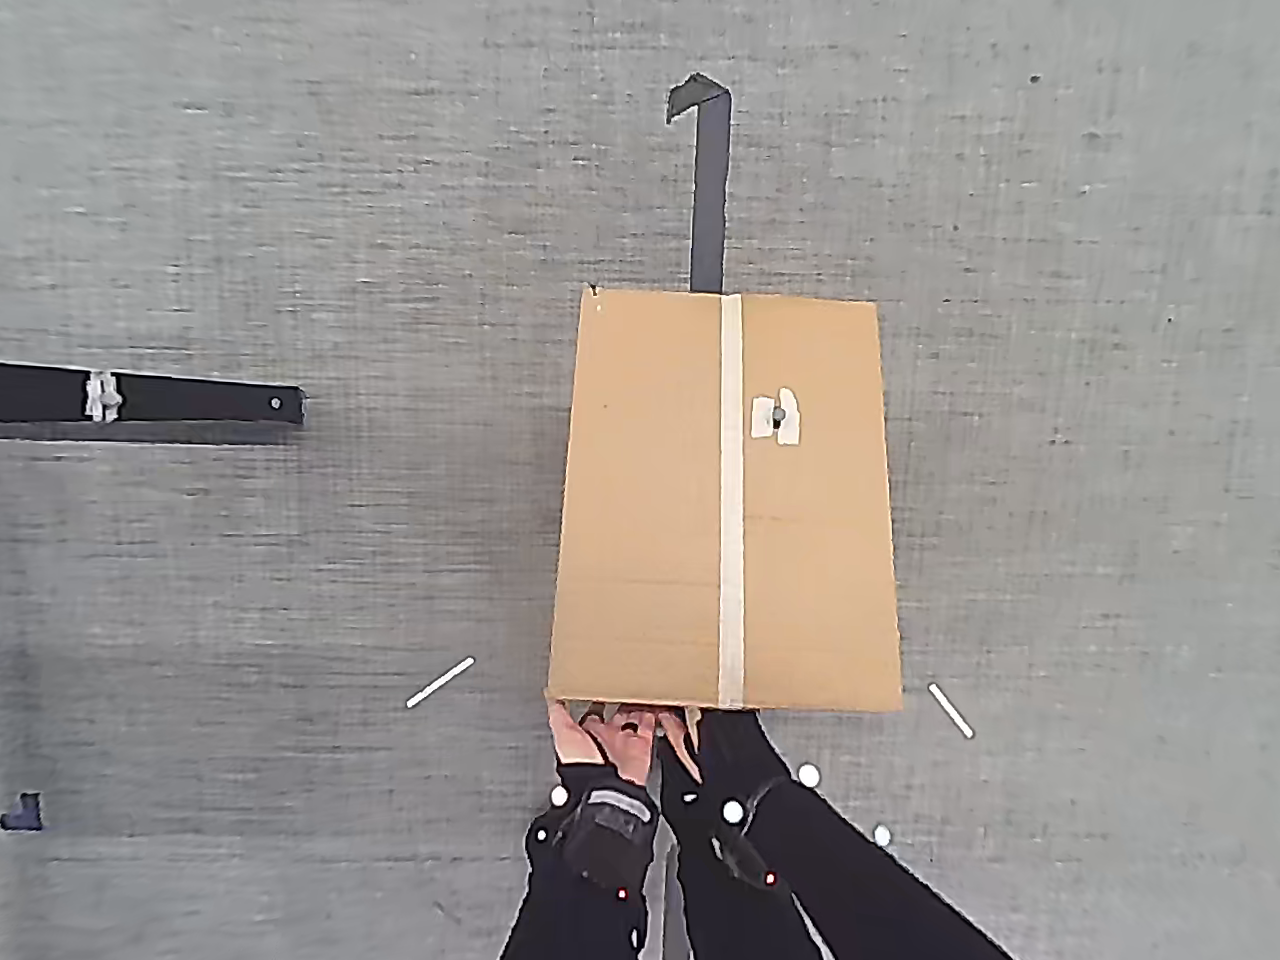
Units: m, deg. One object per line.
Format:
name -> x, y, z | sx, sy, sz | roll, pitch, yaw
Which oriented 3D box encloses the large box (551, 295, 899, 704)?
large box -> 0.077, 0.041, 0.664 | 0.320, 0.320, 0.408 | 3, 75, -2
